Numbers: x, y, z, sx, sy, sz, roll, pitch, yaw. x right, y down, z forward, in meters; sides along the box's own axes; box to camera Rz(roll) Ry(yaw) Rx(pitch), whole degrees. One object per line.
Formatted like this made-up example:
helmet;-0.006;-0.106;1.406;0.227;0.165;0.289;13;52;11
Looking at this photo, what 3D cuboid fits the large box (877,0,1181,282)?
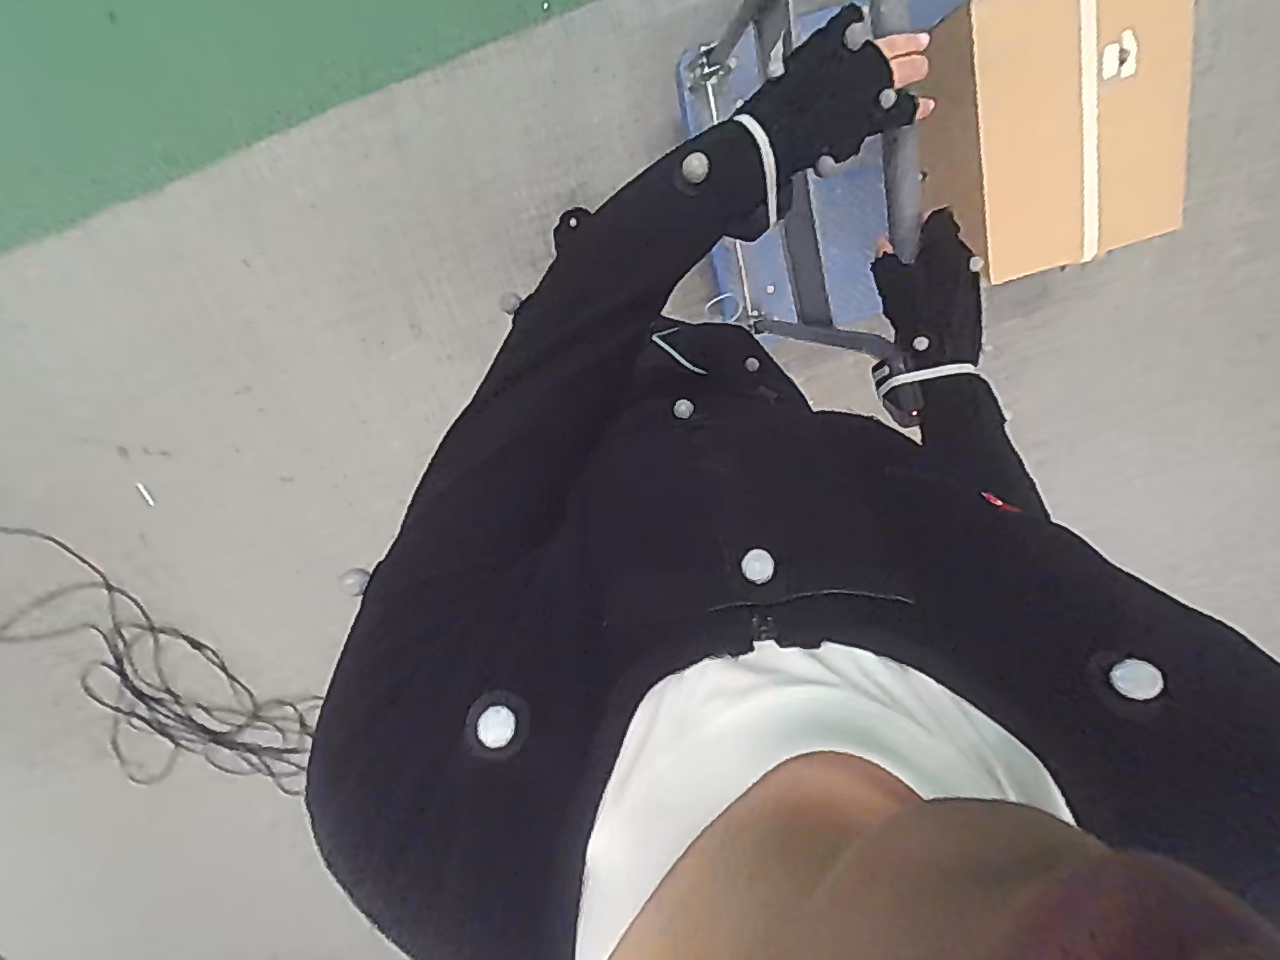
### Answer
large box;0.662;-0.603;0.962;0.320;0.320;0.408;-17;108;4
